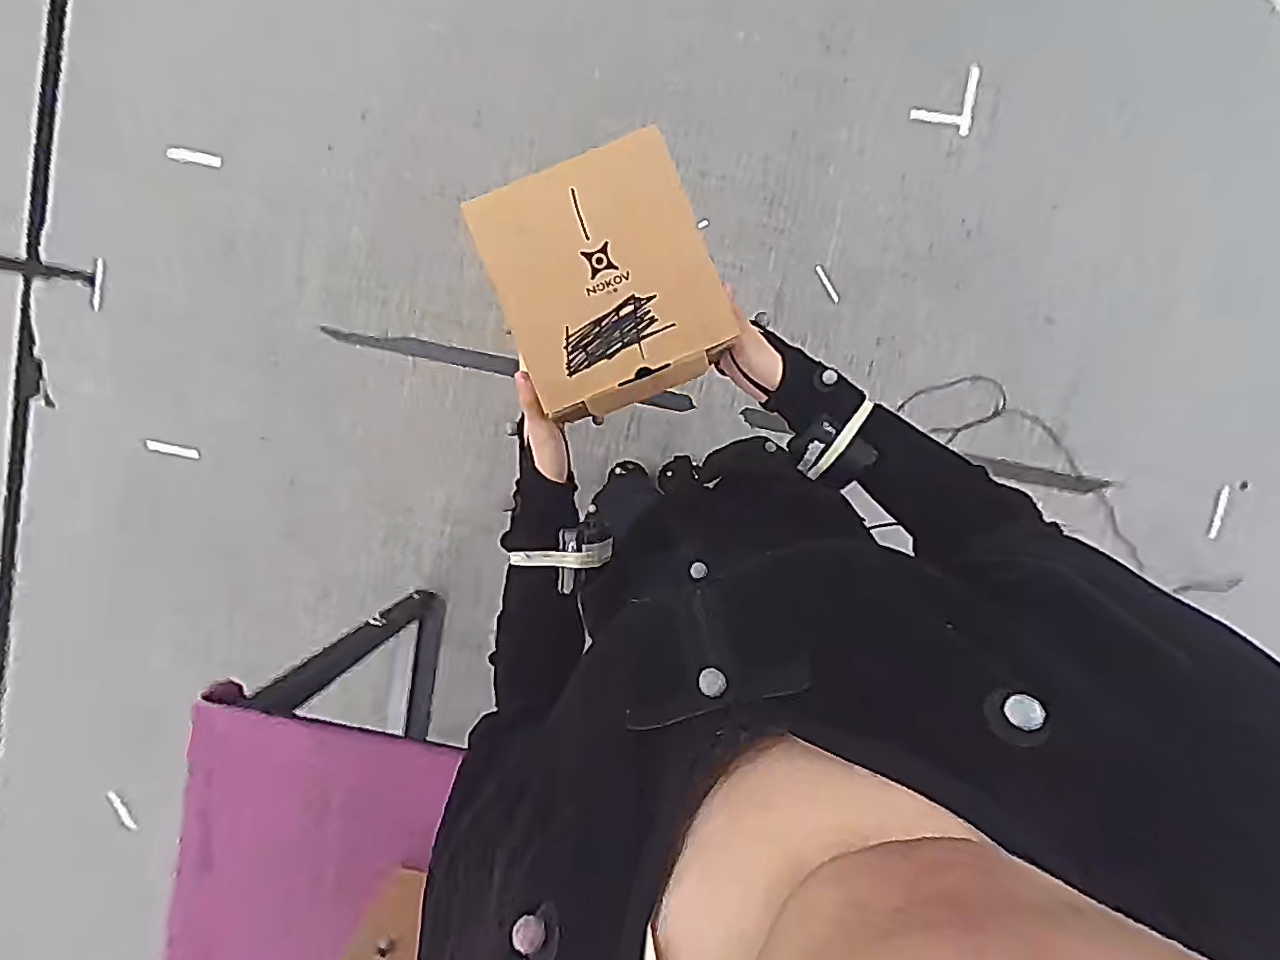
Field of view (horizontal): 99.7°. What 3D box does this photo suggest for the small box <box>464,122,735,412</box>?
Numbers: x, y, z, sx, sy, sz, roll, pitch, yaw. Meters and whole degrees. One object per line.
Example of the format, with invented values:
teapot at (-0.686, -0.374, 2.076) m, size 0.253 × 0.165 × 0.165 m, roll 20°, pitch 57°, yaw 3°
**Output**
small box at (-0.030, -0.169, 0.495) m, size 0.168 × 0.176 × 0.179 m, roll -21°, pitch 94°, yaw 0°
